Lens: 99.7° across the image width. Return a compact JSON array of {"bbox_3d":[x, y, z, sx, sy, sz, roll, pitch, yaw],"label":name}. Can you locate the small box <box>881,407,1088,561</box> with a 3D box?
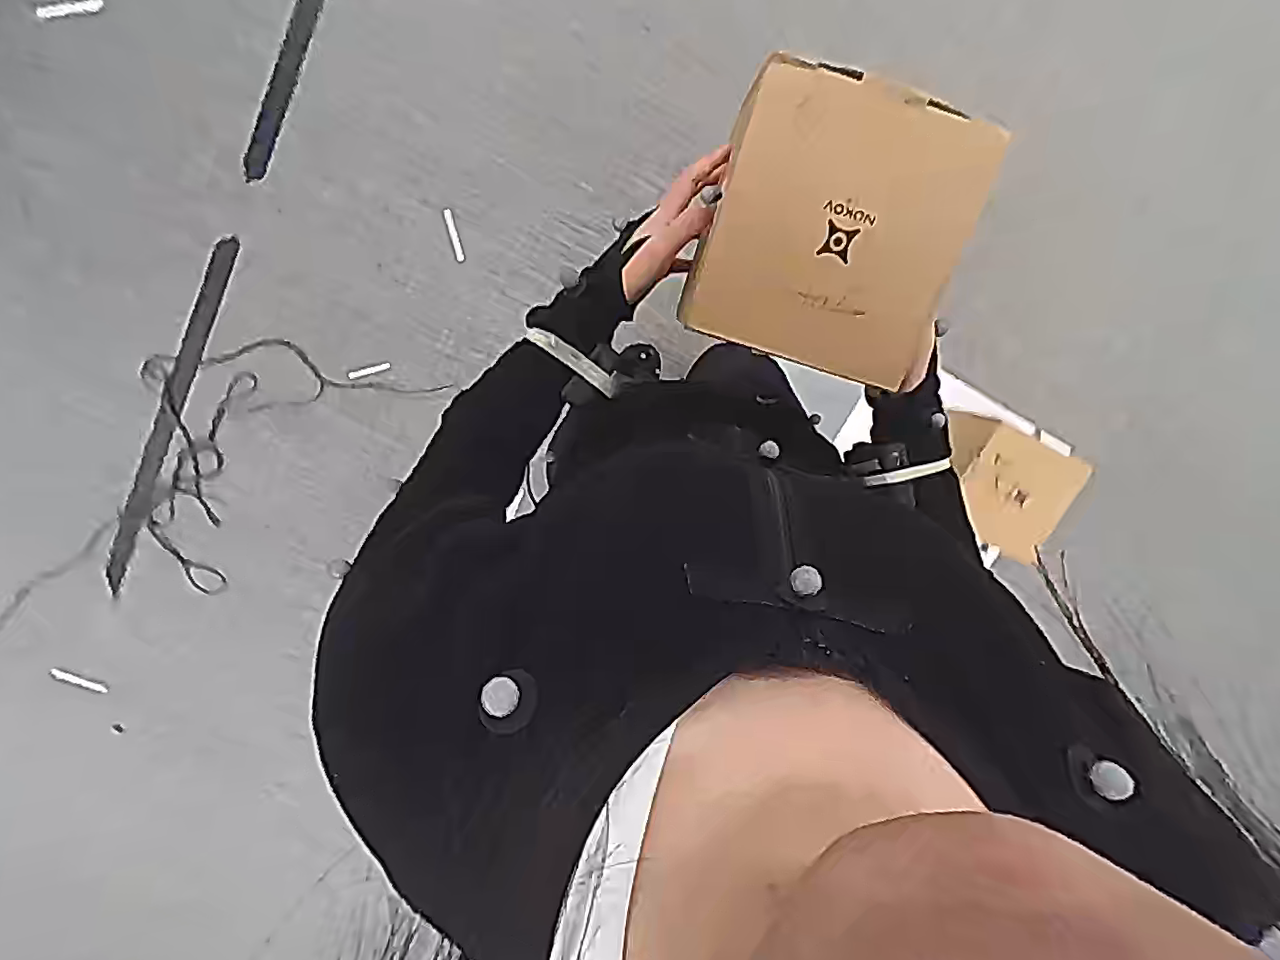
[{"bbox_3d":[0.526,-0.004,0.852,0.179,0.176,0.168,24,101,-11],"label":"small box"}]

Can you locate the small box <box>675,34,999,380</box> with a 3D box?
[{"bbox_3d":[0.128,-0.198,0.435,0.168,0.176,0.179,15,110,-4],"label":"small box"}]
